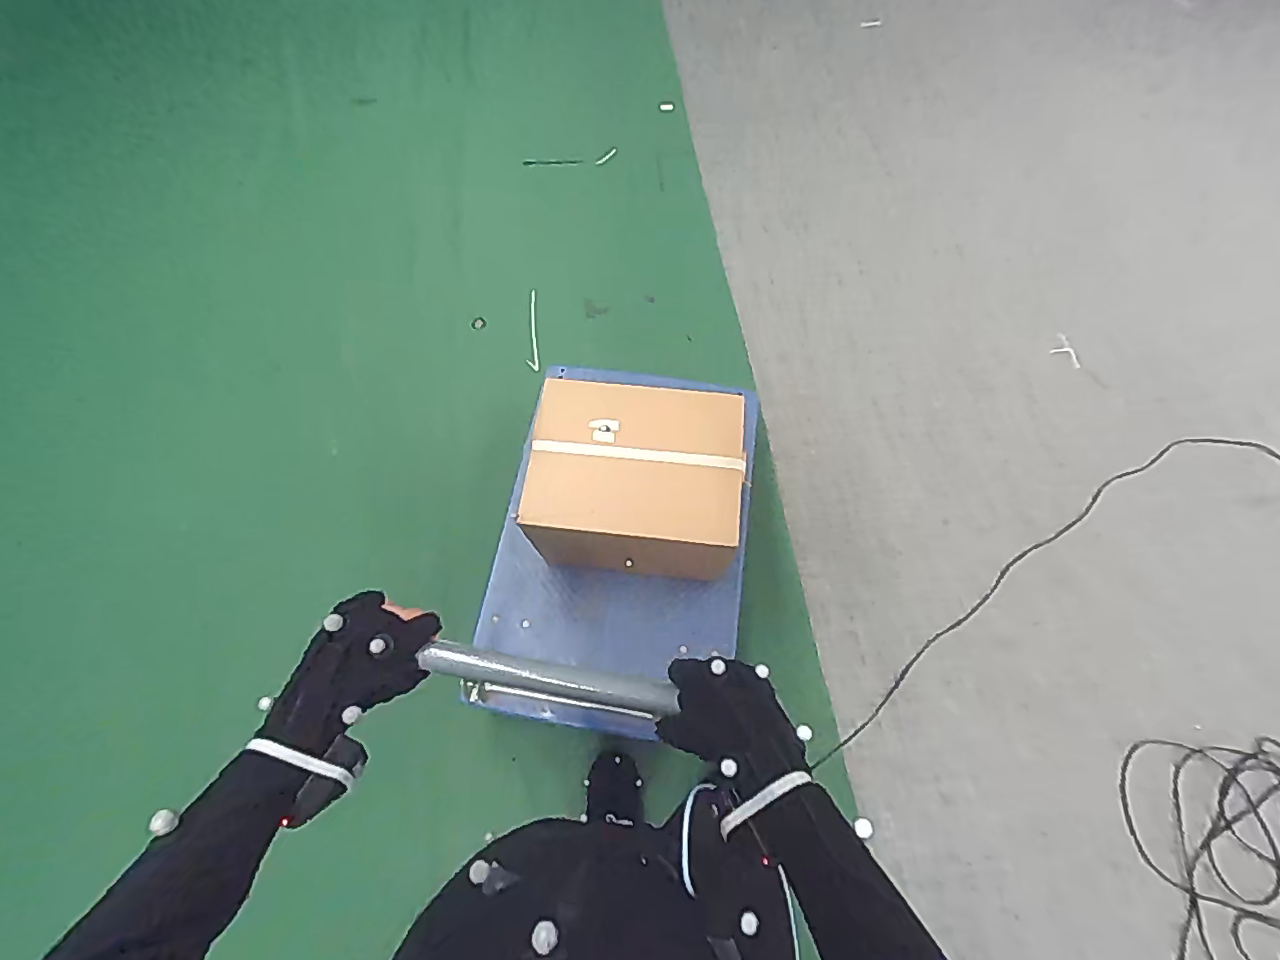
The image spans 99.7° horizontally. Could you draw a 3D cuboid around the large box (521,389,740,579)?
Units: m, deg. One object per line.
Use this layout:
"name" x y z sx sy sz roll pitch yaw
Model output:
"large box" -0.003 0.023 1.178 0.408 0.320 0.320 5 67 4
